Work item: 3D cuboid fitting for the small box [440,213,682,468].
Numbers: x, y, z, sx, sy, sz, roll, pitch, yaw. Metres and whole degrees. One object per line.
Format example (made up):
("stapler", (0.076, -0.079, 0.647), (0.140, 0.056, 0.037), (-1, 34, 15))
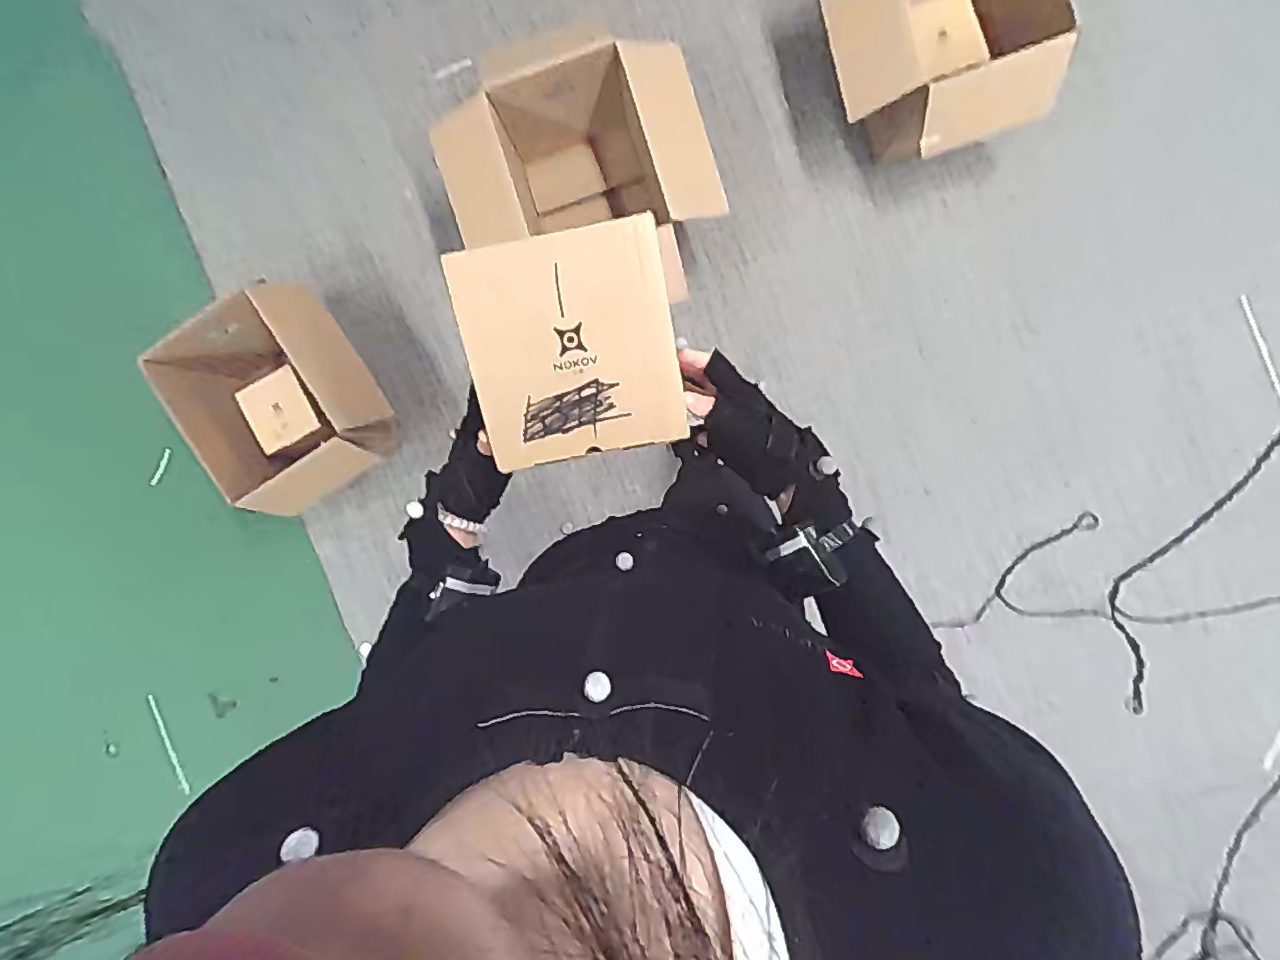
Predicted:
("small box", (-0.059, -0.127, 0.507), (0.168, 0.176, 0.179), (-11, 105, 1))
